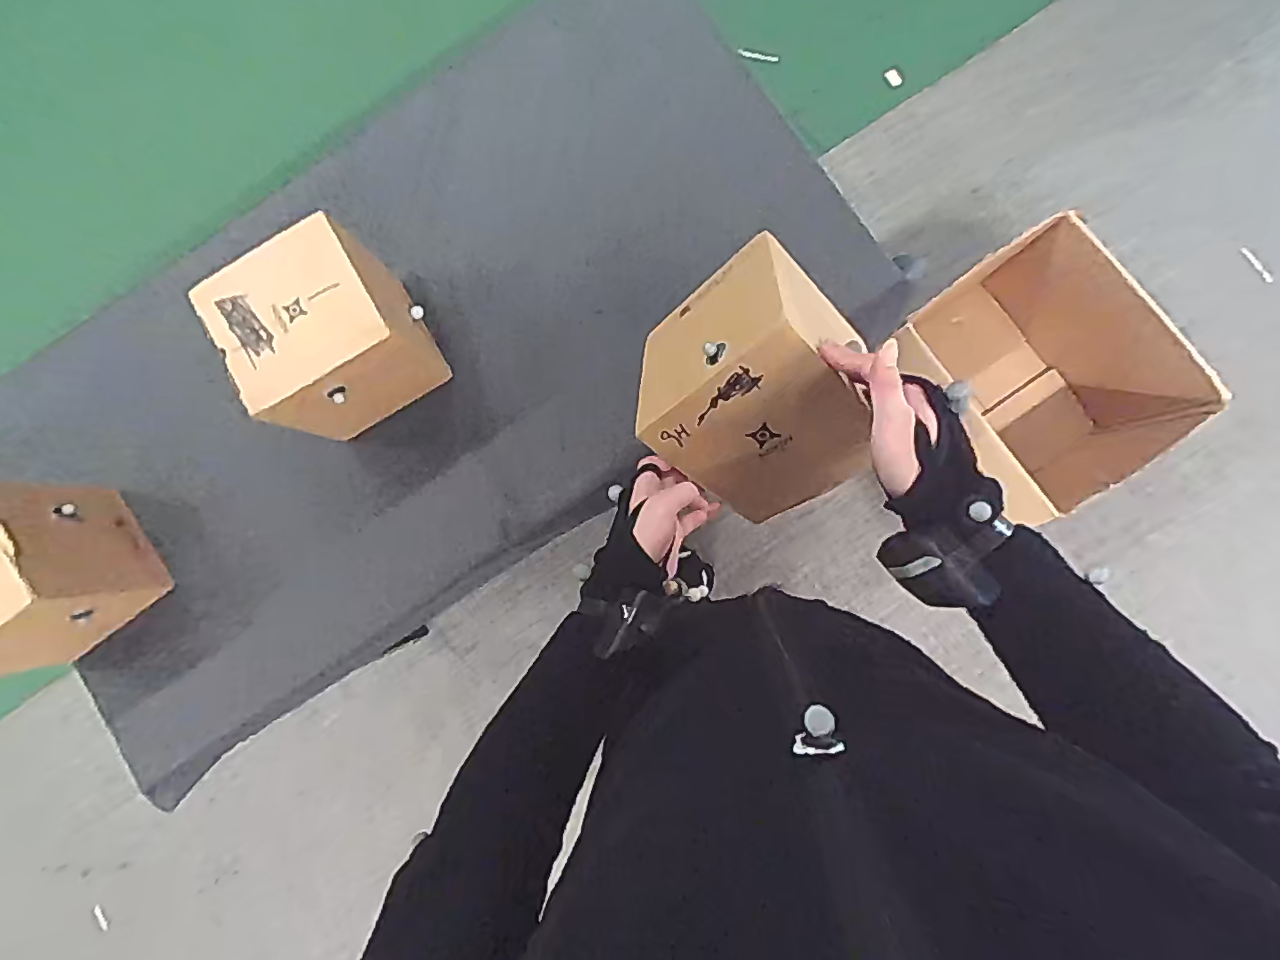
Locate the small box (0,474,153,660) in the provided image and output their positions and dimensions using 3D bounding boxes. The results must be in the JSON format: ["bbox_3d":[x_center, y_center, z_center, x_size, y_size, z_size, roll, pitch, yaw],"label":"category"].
[{"bbox_3d":[-0.748,0.102,0.650,0.179,0.176,0.168,-37,84,1],"label":"small box"}]

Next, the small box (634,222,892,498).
[{"bbox_3d":[0.119,-0.118,0.544,0.179,0.176,0.168,34,132,-25],"label":"small box"}]

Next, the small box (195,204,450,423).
[{"bbox_3d":[-0.367,-0.184,0.658,0.179,0.176,0.168,-27,87,2],"label":"small box"}]
